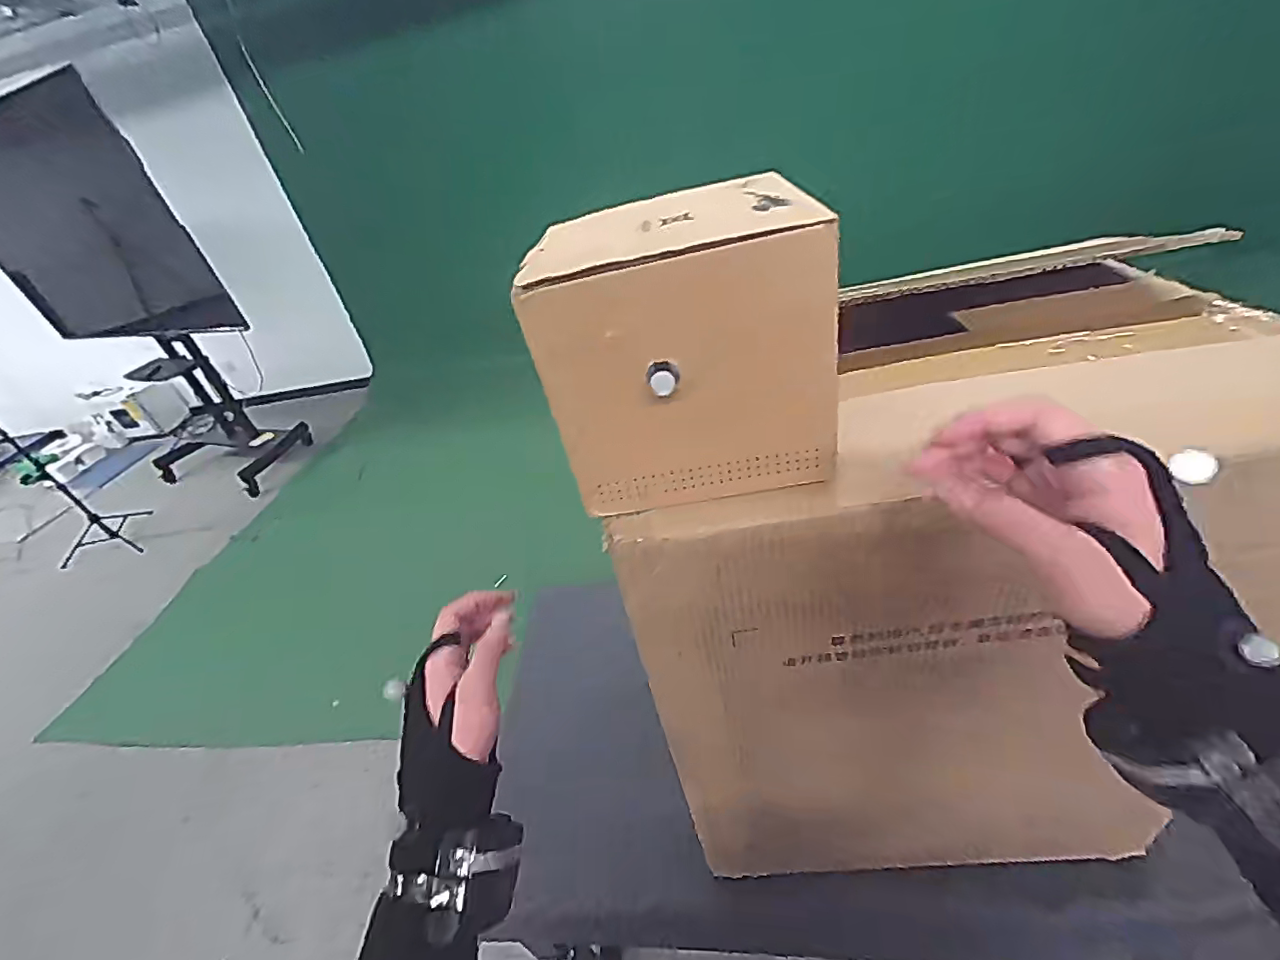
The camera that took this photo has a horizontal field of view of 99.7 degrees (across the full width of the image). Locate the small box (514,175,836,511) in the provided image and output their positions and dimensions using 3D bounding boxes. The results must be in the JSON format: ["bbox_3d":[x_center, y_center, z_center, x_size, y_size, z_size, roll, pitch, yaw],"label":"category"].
[{"bbox_3d":[0.033,-0.096,0.392,0.179,0.176,0.168,-11,37,7],"label":"small box"}]
